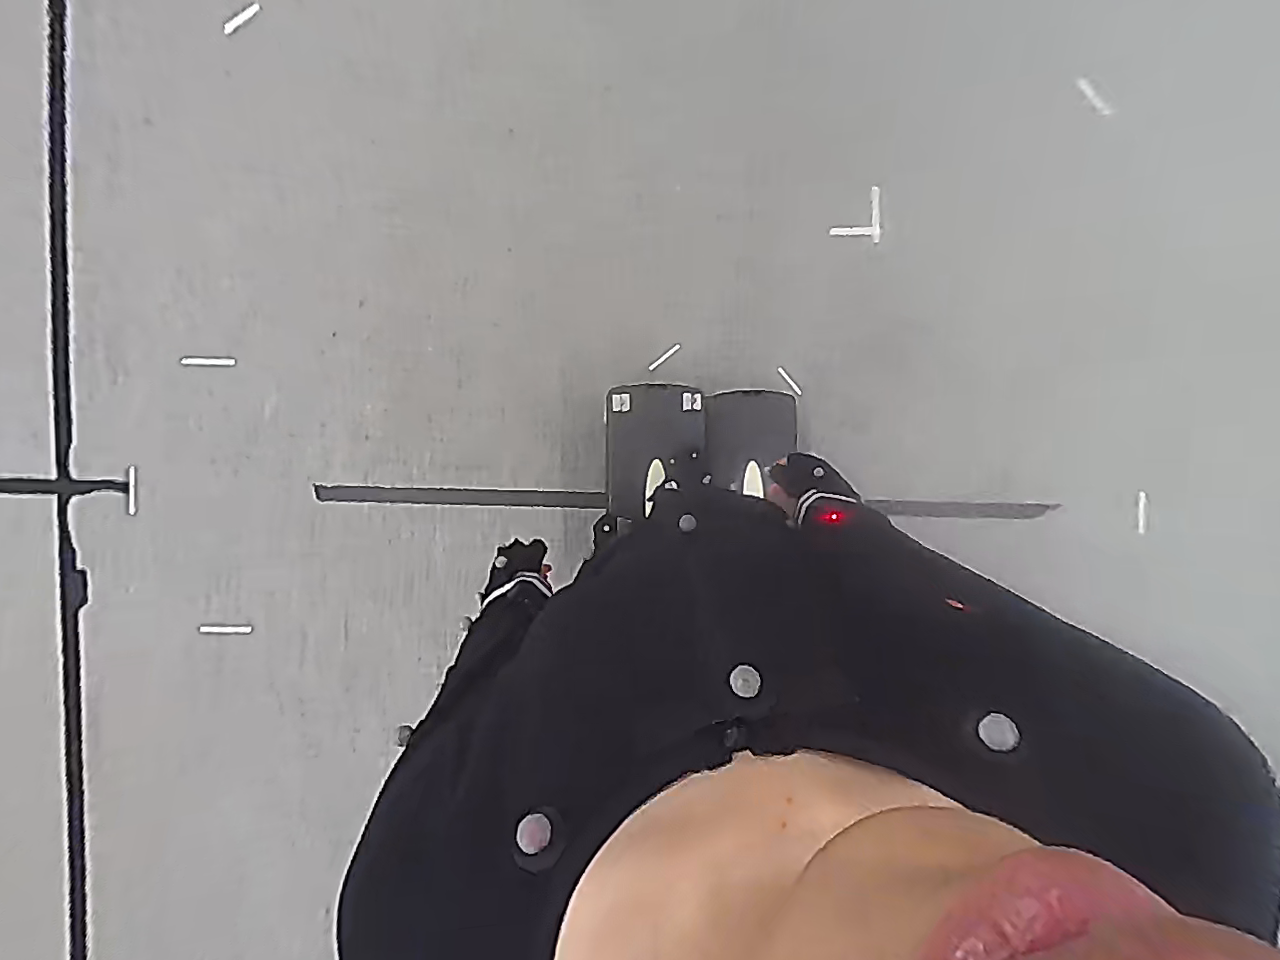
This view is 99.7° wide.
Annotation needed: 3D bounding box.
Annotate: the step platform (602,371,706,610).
[{"bbox_3d":[0.037,0.029,1.578,0.286,0.204,0.684,-1,90,-2],"label":"step platform"}]
